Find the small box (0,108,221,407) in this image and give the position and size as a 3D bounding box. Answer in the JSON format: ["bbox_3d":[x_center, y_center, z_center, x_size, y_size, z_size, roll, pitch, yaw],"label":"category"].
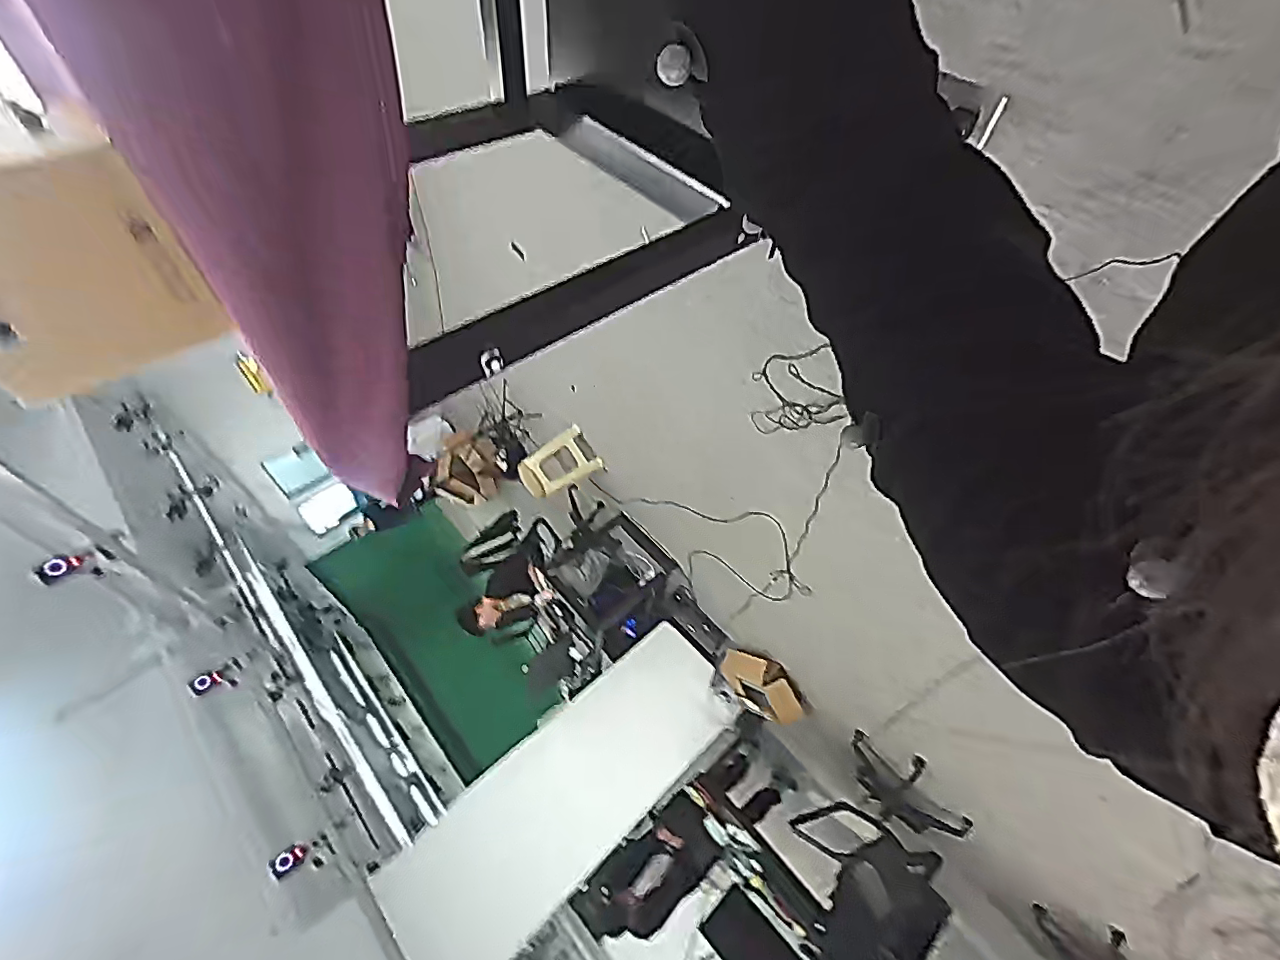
[{"bbox_3d":[-0.508,-0.199,0.465,0.179,0.176,0.168,39,150,31],"label":"small box"}]
